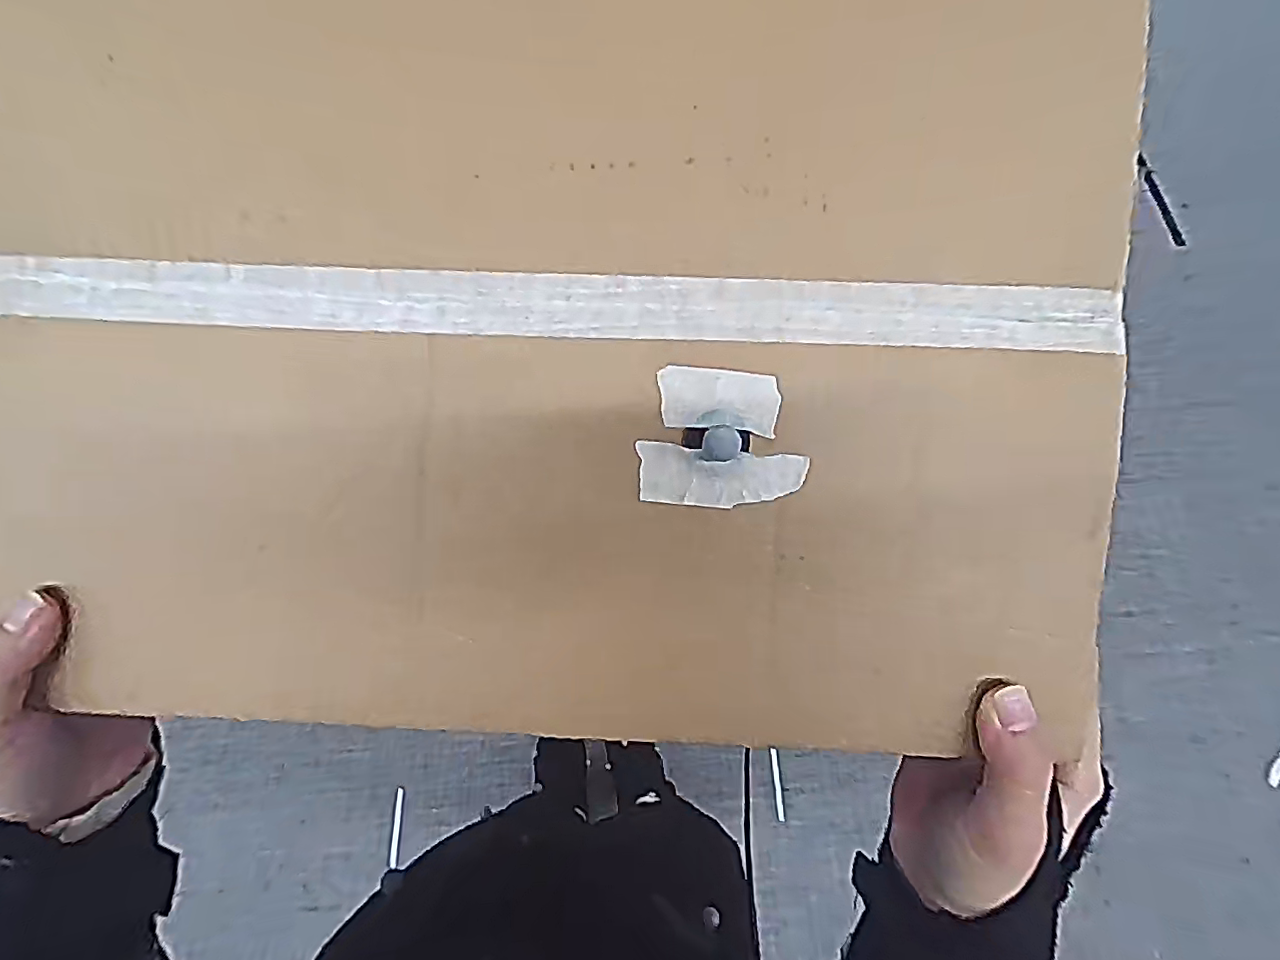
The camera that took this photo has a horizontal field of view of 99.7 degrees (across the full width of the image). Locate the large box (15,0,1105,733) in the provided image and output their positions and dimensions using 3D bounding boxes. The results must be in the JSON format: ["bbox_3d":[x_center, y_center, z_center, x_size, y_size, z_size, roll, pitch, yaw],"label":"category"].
[{"bbox_3d":[-0.033,-0.065,0.351,0.408,0.320,0.320,2,94,0],"label":"large box"}]
